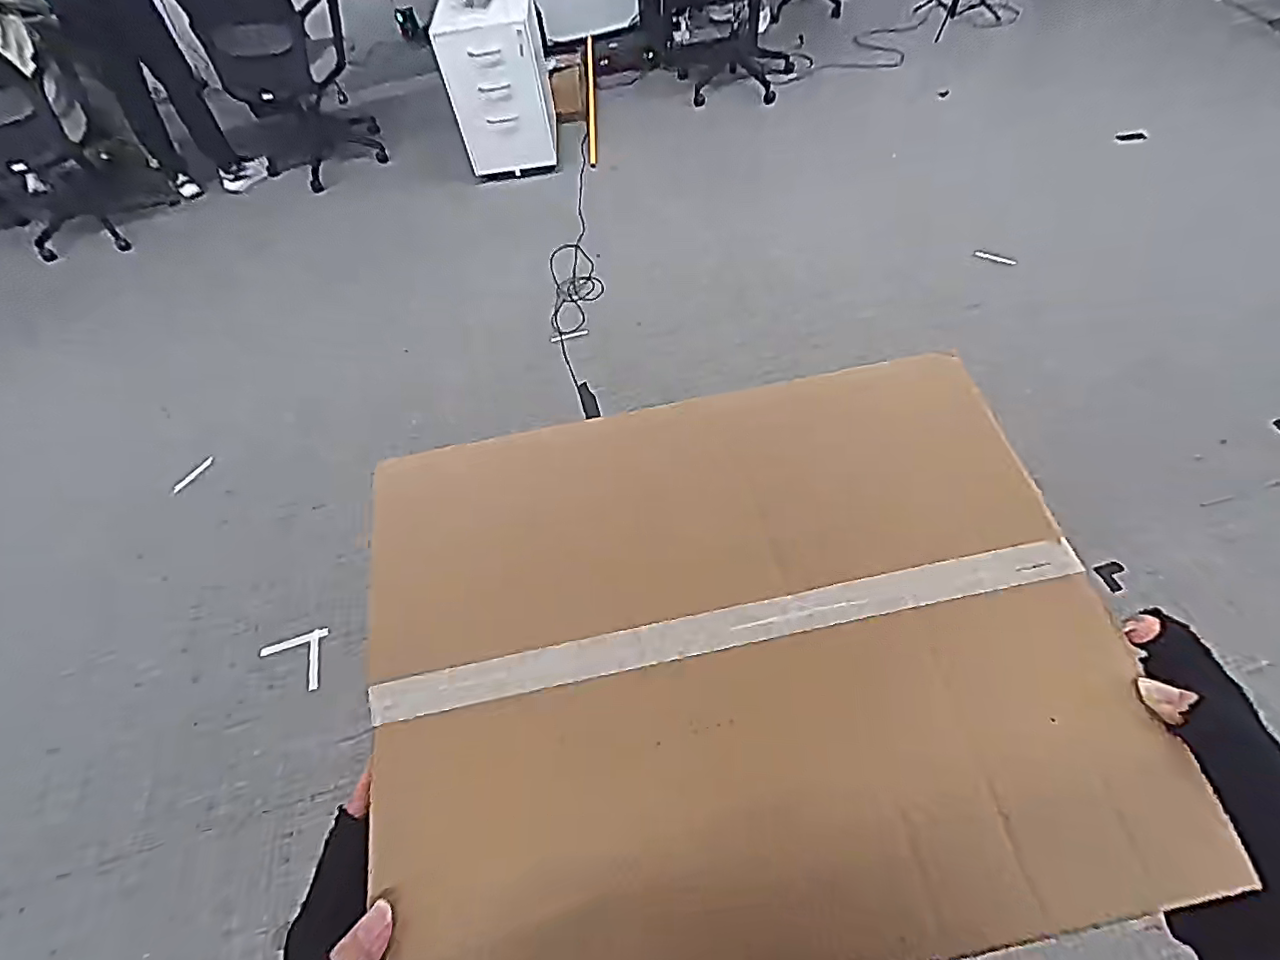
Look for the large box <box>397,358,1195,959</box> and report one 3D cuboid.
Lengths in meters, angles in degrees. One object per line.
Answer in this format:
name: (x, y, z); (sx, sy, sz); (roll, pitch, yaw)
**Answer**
large box: (0.060, 0.150, 0.456); (0.408, 0.320, 0.320); (-12, 65, -2)
